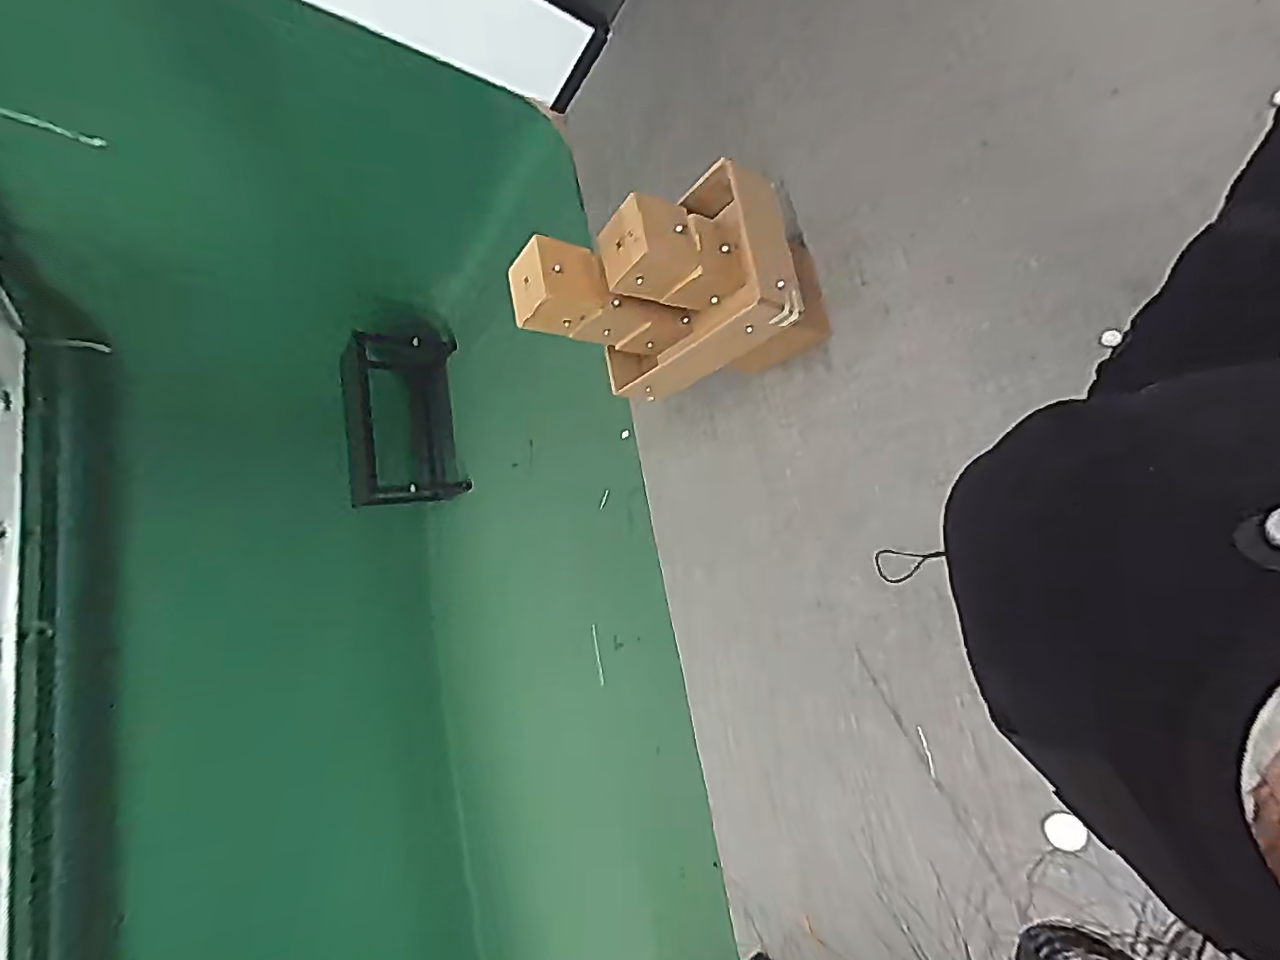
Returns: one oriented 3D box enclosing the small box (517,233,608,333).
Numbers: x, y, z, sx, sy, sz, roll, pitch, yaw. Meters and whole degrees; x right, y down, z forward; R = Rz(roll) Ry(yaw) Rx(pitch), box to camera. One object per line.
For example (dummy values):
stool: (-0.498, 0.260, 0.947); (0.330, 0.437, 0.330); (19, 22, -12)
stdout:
small box: (-0.205, -0.514, 1.439); (0.168, 0.176, 0.179); (-25, 72, 50)
